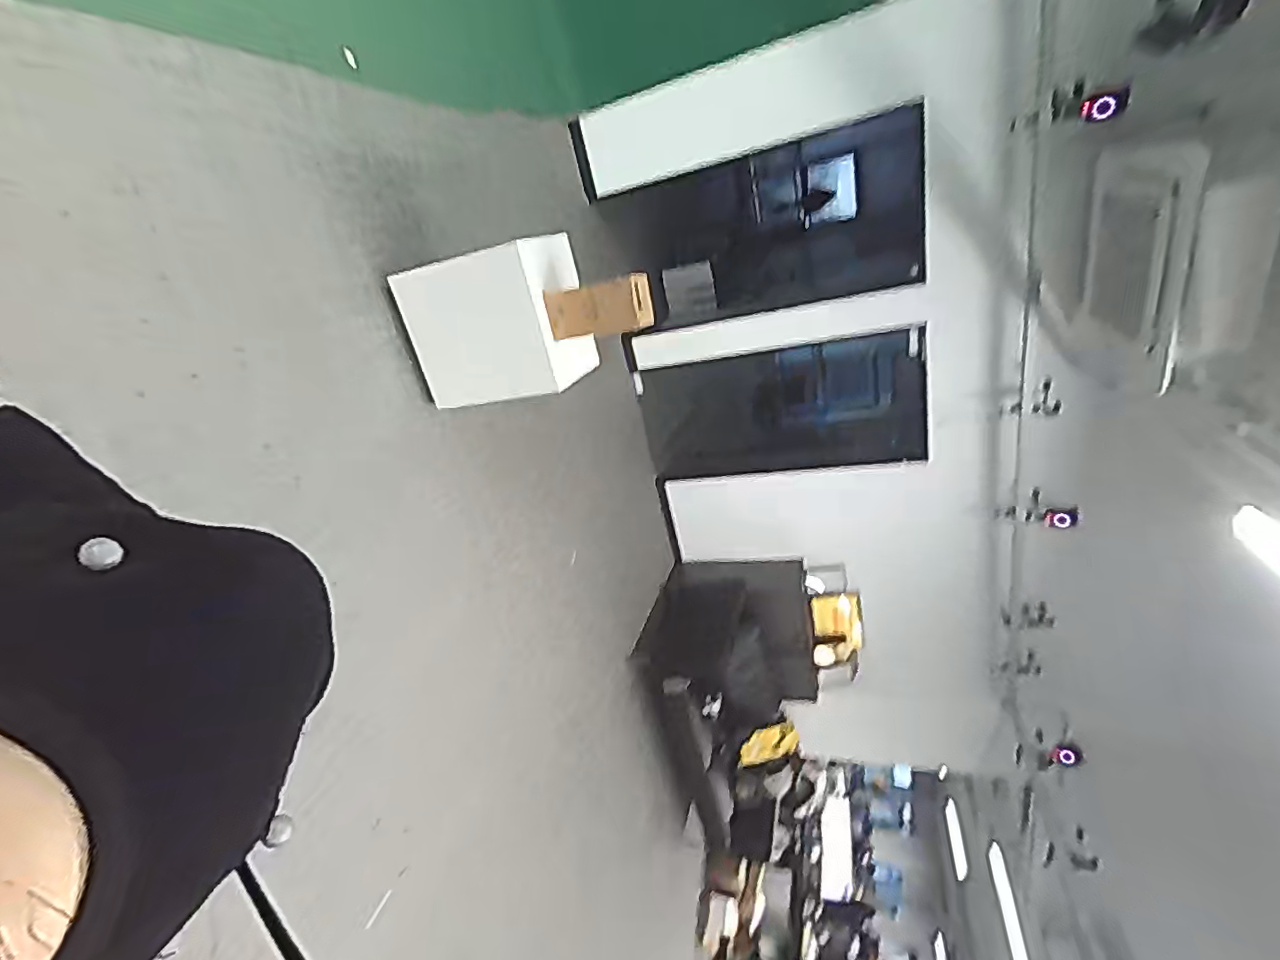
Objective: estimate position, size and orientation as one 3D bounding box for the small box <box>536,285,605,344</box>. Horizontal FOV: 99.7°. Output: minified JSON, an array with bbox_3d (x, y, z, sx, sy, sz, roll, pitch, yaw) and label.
[{"bbox_3d":[-0.246,-0.592,1.928,0.179,0.176,0.168,-54,135,-61],"label":"small box"}]
